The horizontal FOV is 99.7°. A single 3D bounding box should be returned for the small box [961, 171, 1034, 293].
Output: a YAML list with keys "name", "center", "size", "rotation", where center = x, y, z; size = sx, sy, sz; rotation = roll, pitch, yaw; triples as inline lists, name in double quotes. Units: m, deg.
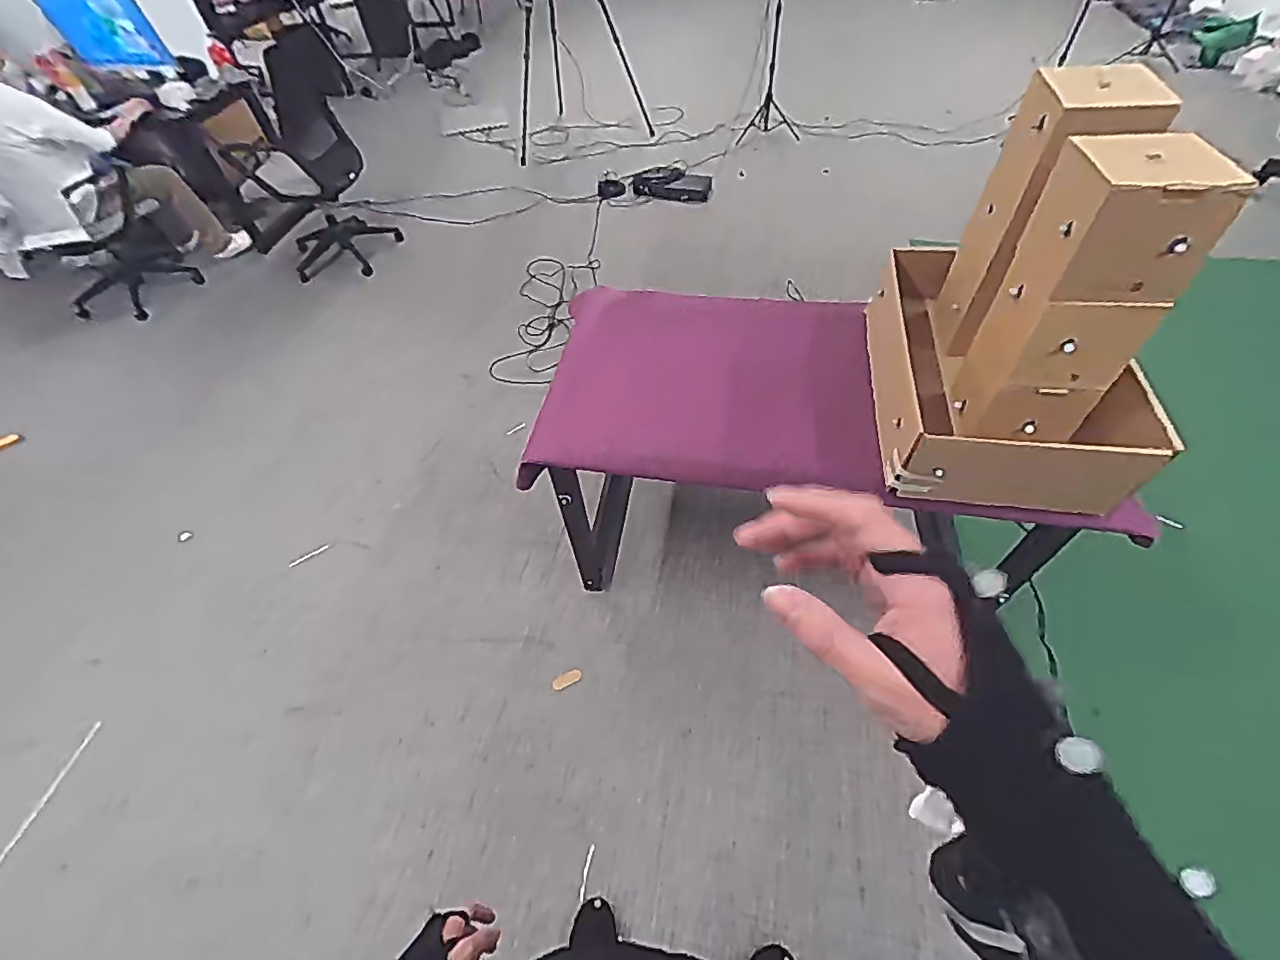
- name: "small box"
  center: [0.769, -0.491, 1.077]
  size: [0.168, 0.176, 0.179]
  rotation: [4, 54, 9]

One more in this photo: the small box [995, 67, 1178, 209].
- name: "small box"
  center: [0.757, -0.587, 0.943]
  size: [0.168, 0.176, 0.179]
  rotation: [6, 54, 9]

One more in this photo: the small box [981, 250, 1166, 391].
- name: "small box"
  center: [0.710, -0.267, 0.913]
  size: [0.168, 0.176, 0.179]
  rotation: [4, 51, 10]

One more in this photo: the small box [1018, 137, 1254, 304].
- name: "small box"
  center: [0.697, -0.374, 0.790]
  size: [0.168, 0.176, 0.179]
  rotation: [5, 51, 9]
